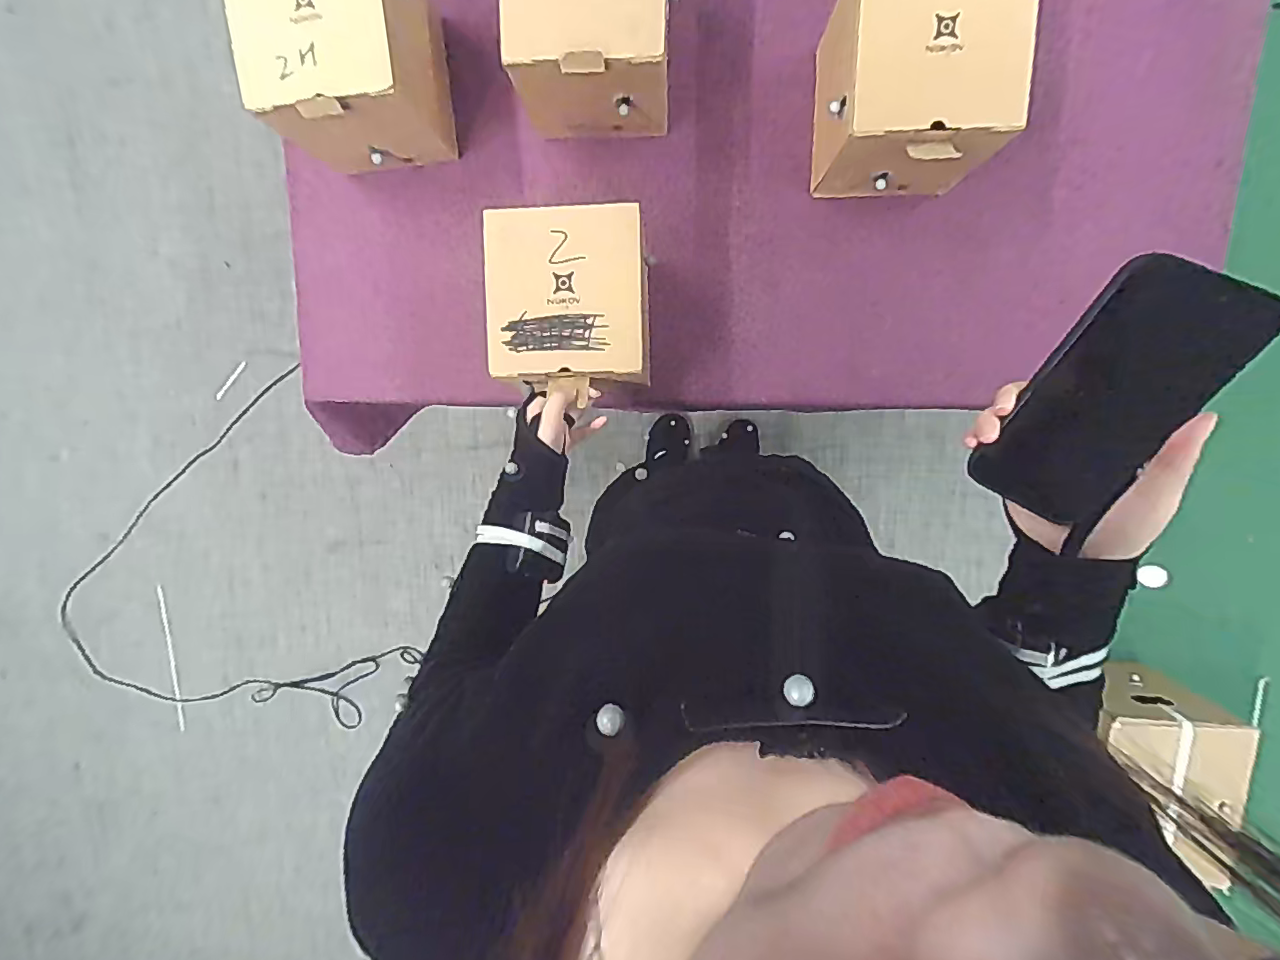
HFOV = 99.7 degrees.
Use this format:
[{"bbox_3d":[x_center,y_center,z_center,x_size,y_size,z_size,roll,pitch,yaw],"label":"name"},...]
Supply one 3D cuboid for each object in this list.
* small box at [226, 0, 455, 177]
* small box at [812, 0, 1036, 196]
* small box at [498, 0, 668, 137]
[{"bbox_3d":[-0.333,-0.484,0.626,0.168,0.176,0.179,-4,99,5],"label":"small box"},{"bbox_3d":[0.291,-0.435,0.590,0.168,0.176,0.179,0,99,4],"label":"small box"},{"bbox_3d":[-0.053,-0.510,0.604,0.168,0.176,0.179,1,99,3],"label":"small box"}]
